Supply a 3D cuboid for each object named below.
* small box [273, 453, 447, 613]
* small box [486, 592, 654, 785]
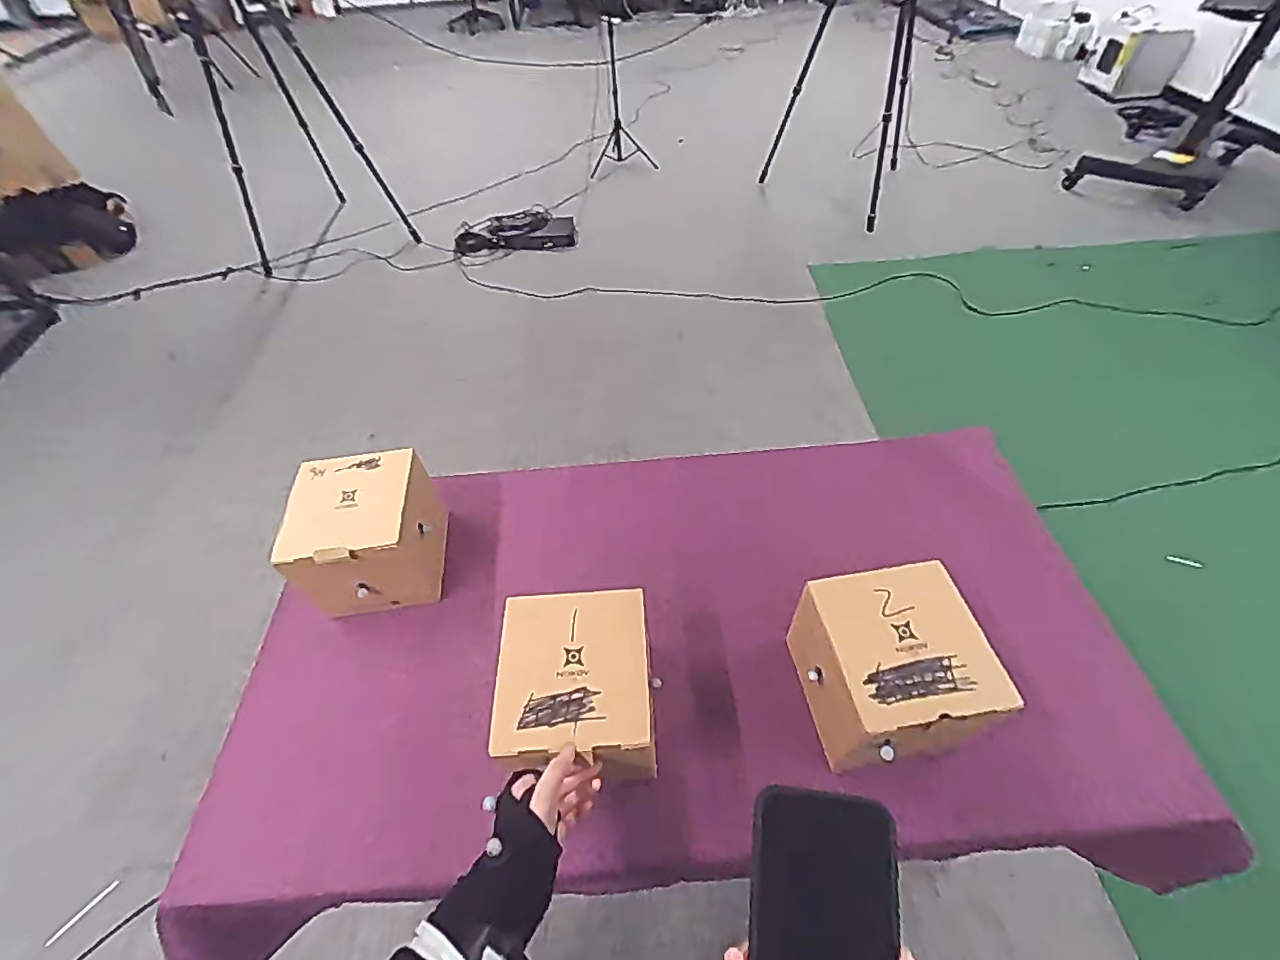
[{"bbox_3d":[-0.401,0.087,0.813,0.168,0.176,0.179,-8,52,-3],"label":"small box"},{"bbox_3d":[-0.071,0.256,0.651,0.168,0.176,0.179,-4,49,1],"label":"small box"}]
